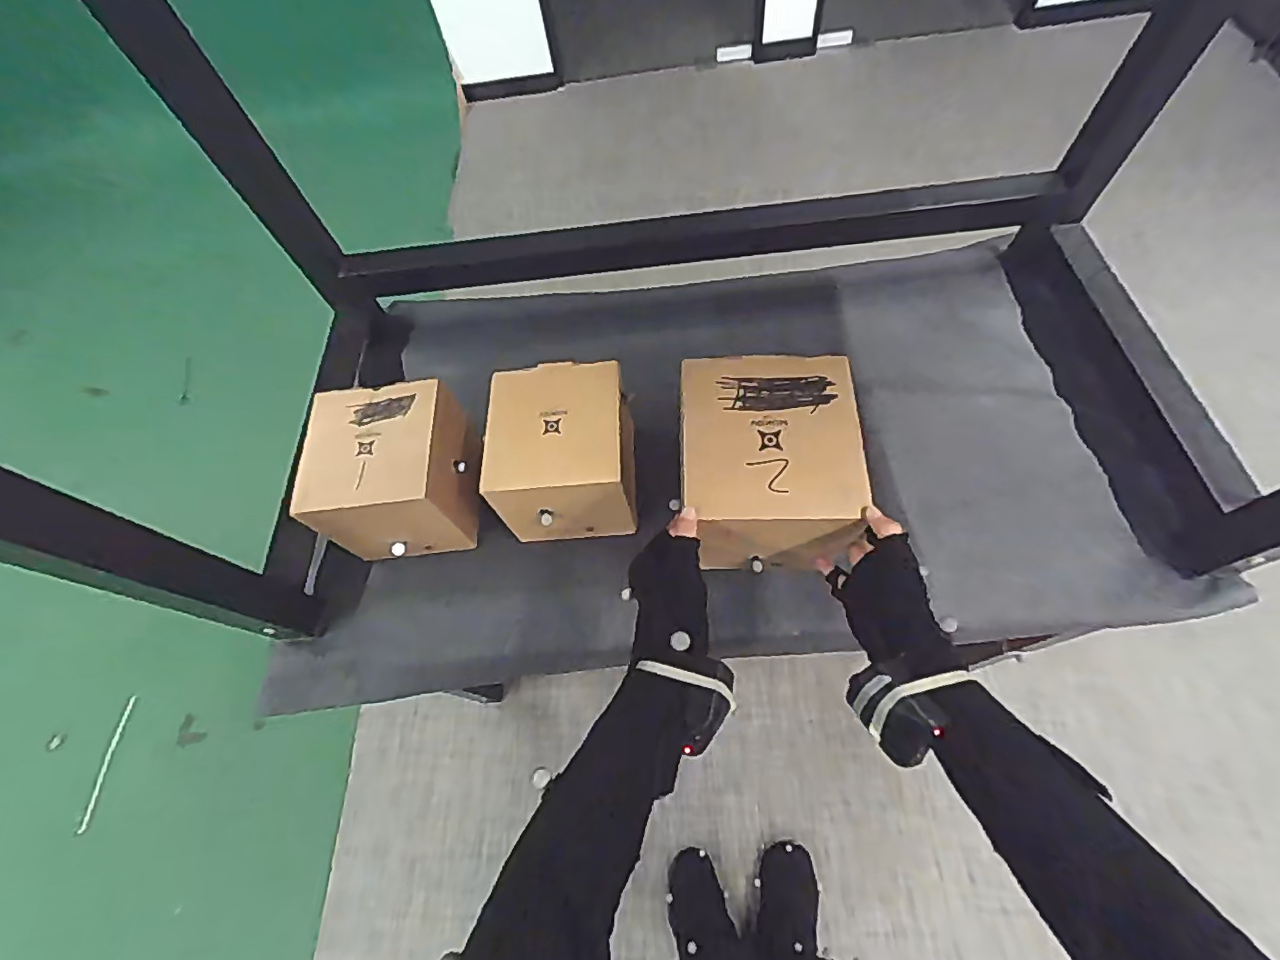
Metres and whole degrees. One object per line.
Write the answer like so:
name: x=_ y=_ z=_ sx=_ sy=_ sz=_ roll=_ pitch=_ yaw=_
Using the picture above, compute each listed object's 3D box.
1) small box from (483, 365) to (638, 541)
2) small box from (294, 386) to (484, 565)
small box: x=-0.095 y=-0.026 z=0.724 sx=0.168 sy=0.176 sz=0.179 roll=-5 pitch=61 yaw=4
small box: x=-0.321 y=0.000 z=0.734 sx=0.168 sy=0.176 sz=0.179 roll=-7 pitch=61 yaw=3
